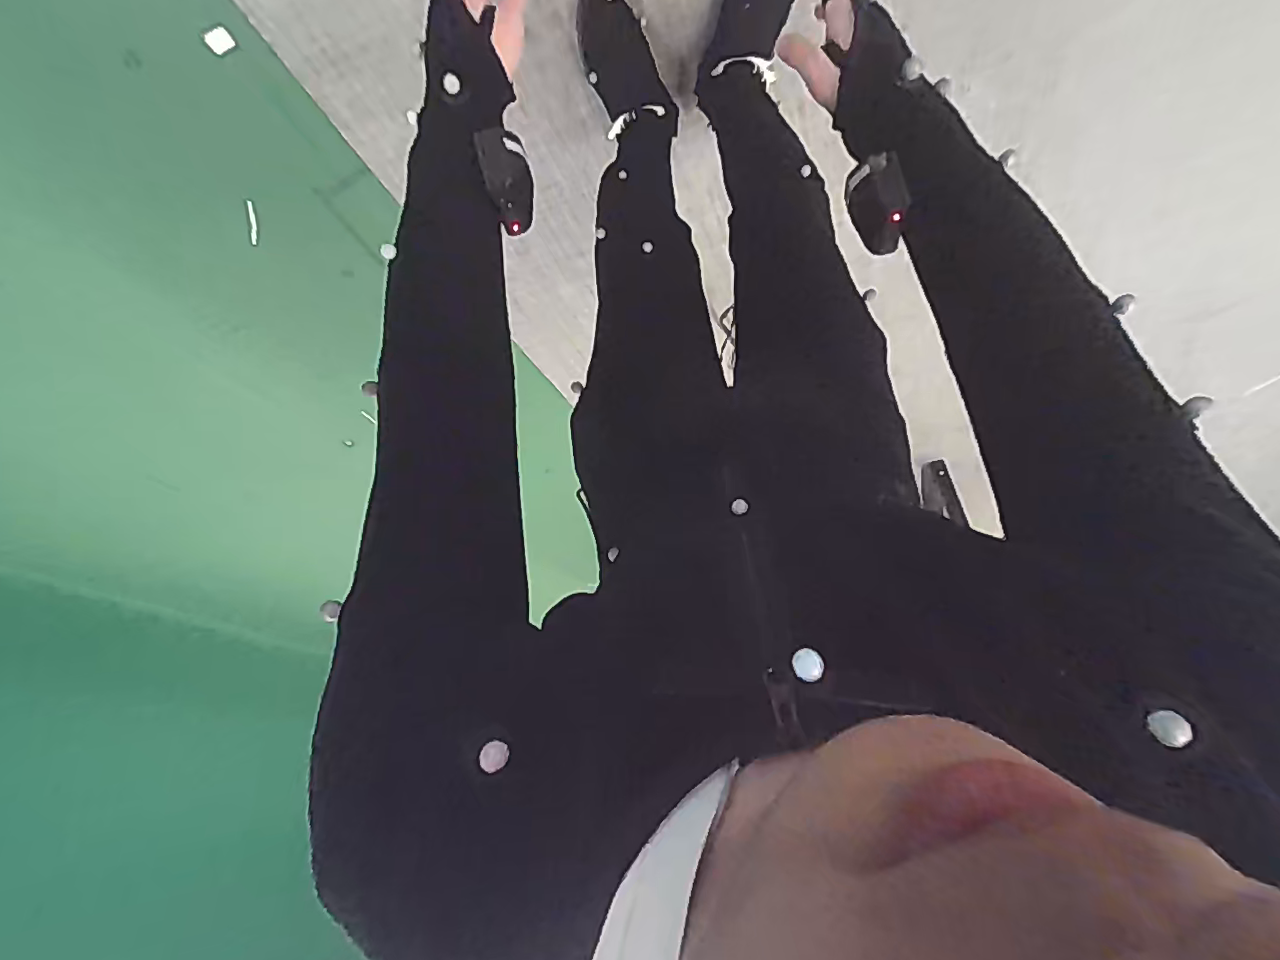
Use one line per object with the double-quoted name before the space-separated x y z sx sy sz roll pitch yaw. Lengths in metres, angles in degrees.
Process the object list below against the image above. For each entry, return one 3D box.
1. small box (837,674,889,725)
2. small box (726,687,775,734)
"small box" 0.927 0.911 2.242 0.168 0.176 0.179 -15 145 18
"small box" 0.489 1.016 2.386 0.168 0.176 0.179 -16 146 19
